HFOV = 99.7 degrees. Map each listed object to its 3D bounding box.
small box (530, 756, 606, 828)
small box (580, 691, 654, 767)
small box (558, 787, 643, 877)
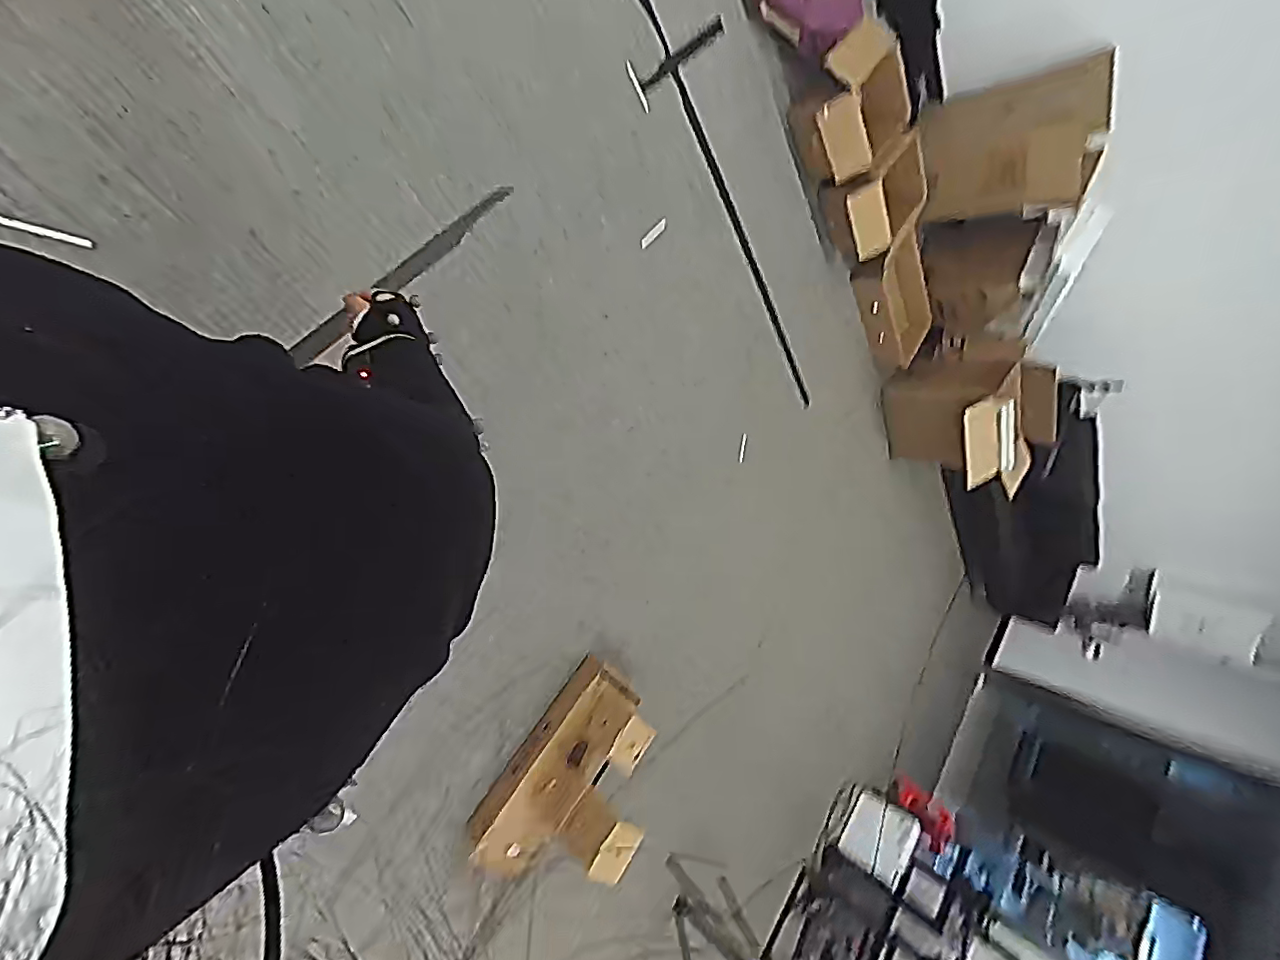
[{"bbox_3d":[-0.243,1.092,1.865,0.168,0.176,0.179,-49,128,-23],"label":"small box"},{"bbox_3d":[-0.087,0.895,1.960,0.168,0.176,0.179,-51,128,-21],"label":"small box"},{"bbox_3d":[-0.129,1.134,1.752,0.168,0.176,0.179,-53,130,-20],"label":"small box"}]
